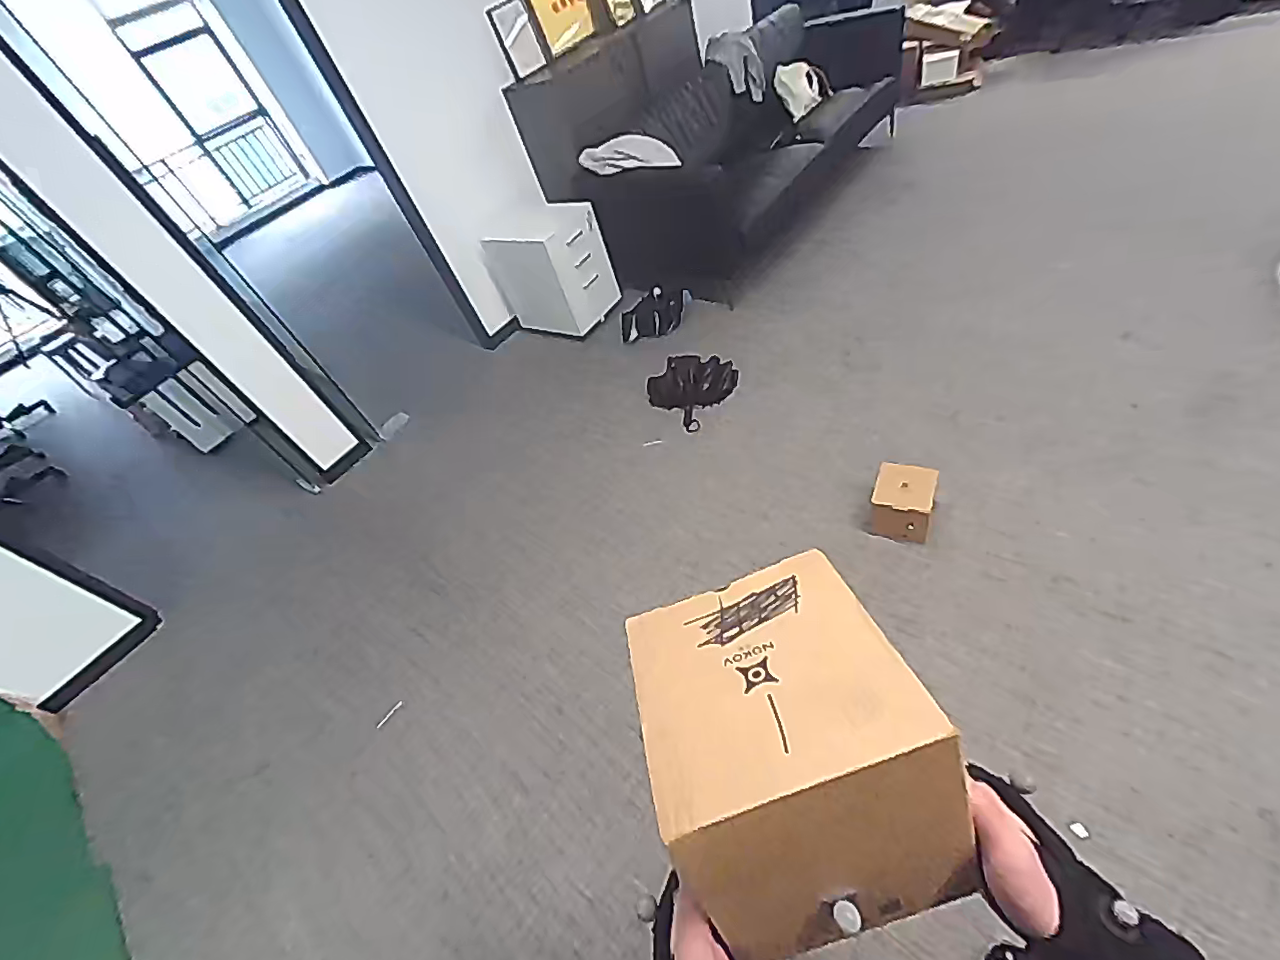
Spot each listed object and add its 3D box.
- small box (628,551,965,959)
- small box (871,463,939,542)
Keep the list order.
[{"bbox_3d":[0.102,0.188,0.392,0.168,0.176,0.179,-22,27,3],"label":"small box"},{"bbox_3d":[0.838,0.074,1.717,0.168,0.176,0.179,11,53,28],"label":"small box"}]
